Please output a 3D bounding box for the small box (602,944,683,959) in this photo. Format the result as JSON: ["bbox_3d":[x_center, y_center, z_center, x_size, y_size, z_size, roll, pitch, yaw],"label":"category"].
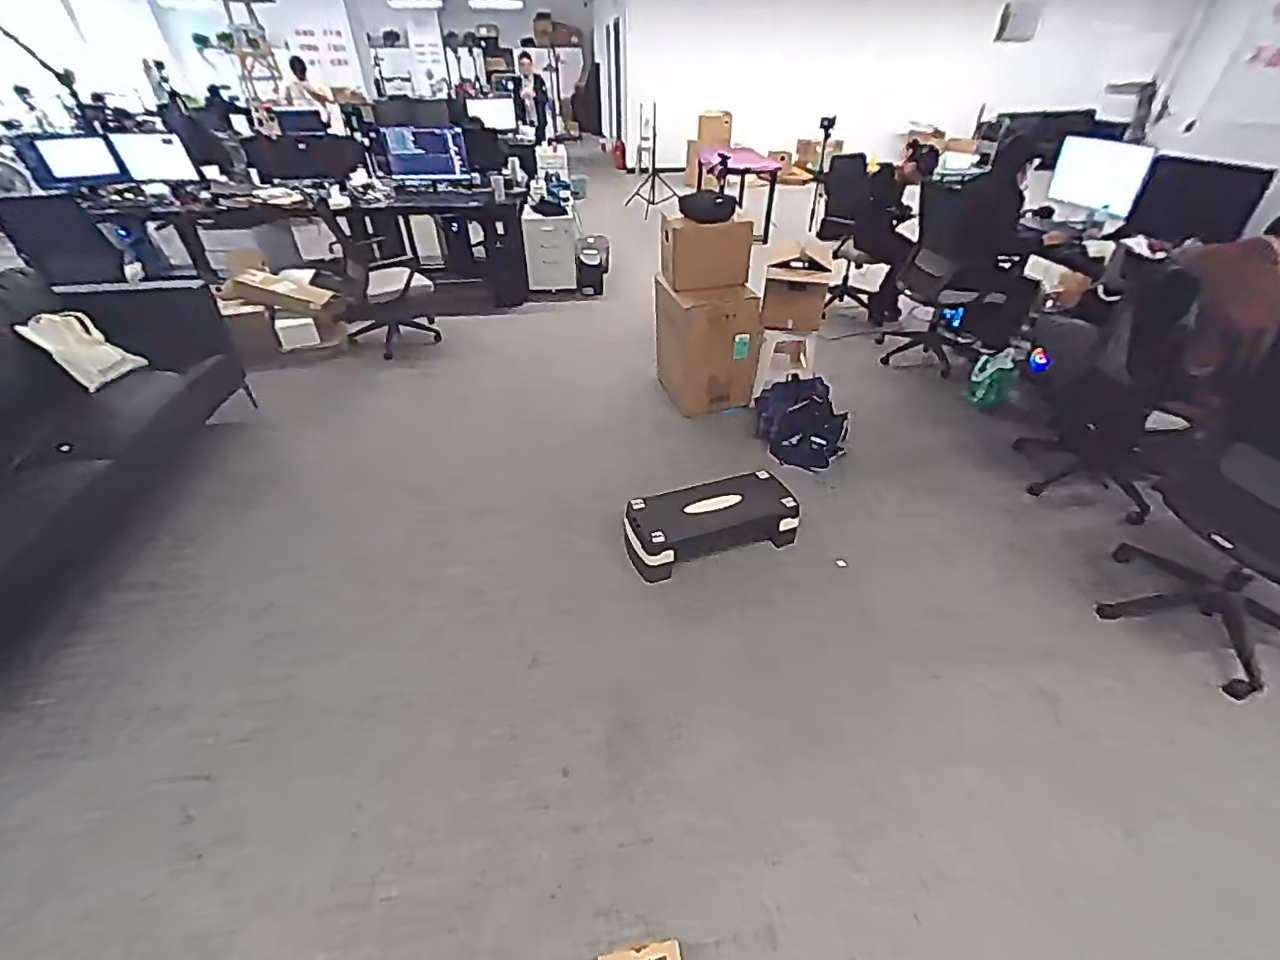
[{"bbox_3d":[0.015,1.055,1.058,0.168,0.176,0.179,-7,38,-5],"label":"small box"}]
